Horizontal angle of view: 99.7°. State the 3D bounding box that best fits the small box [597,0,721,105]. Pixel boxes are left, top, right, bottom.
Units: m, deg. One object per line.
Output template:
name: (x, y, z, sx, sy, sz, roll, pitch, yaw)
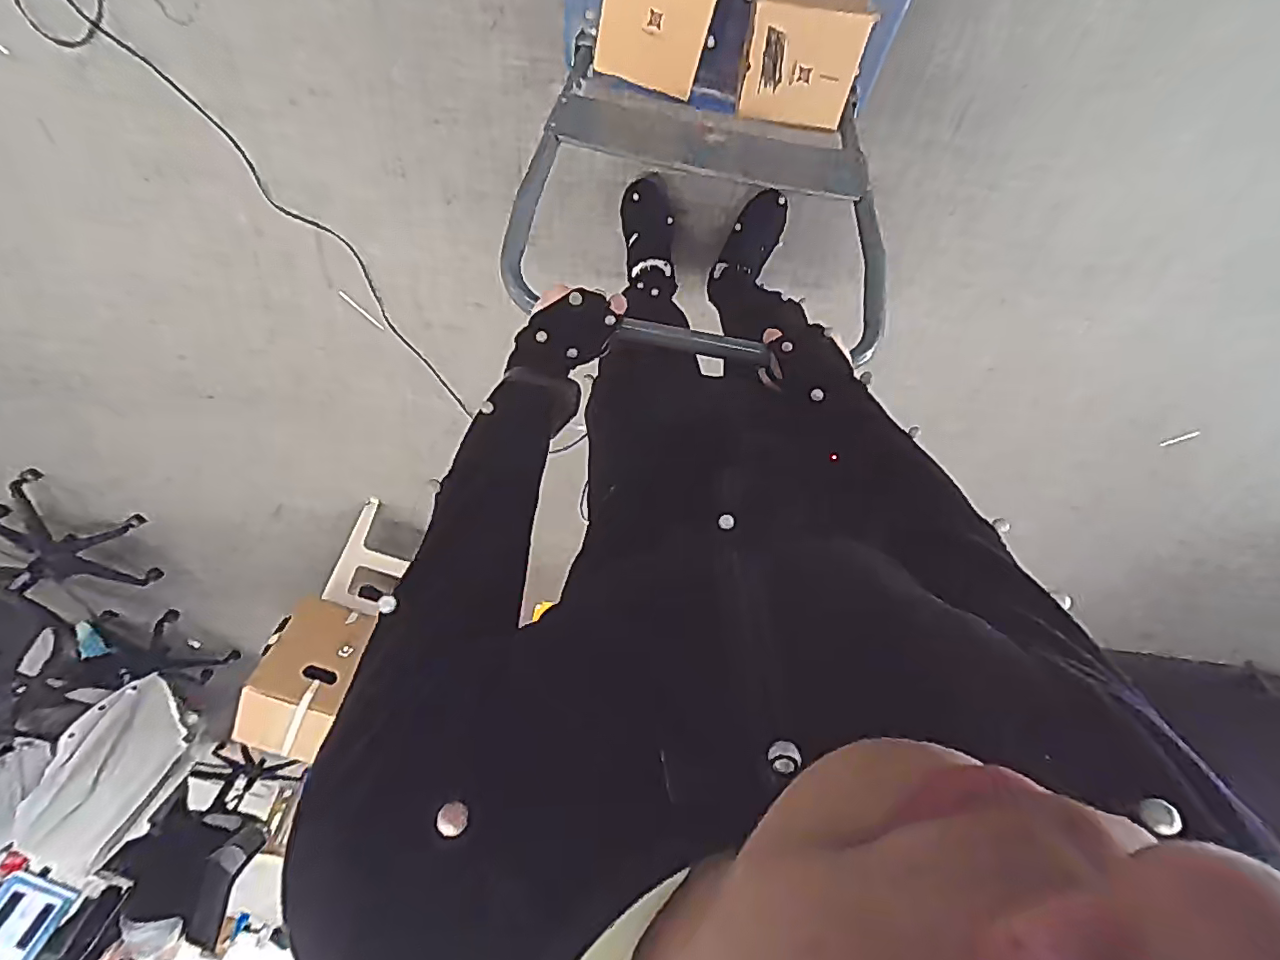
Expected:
small box: (0.035, -0.763, 0.875, 0.168, 0.176, 0.179, 14, 147, -8)
